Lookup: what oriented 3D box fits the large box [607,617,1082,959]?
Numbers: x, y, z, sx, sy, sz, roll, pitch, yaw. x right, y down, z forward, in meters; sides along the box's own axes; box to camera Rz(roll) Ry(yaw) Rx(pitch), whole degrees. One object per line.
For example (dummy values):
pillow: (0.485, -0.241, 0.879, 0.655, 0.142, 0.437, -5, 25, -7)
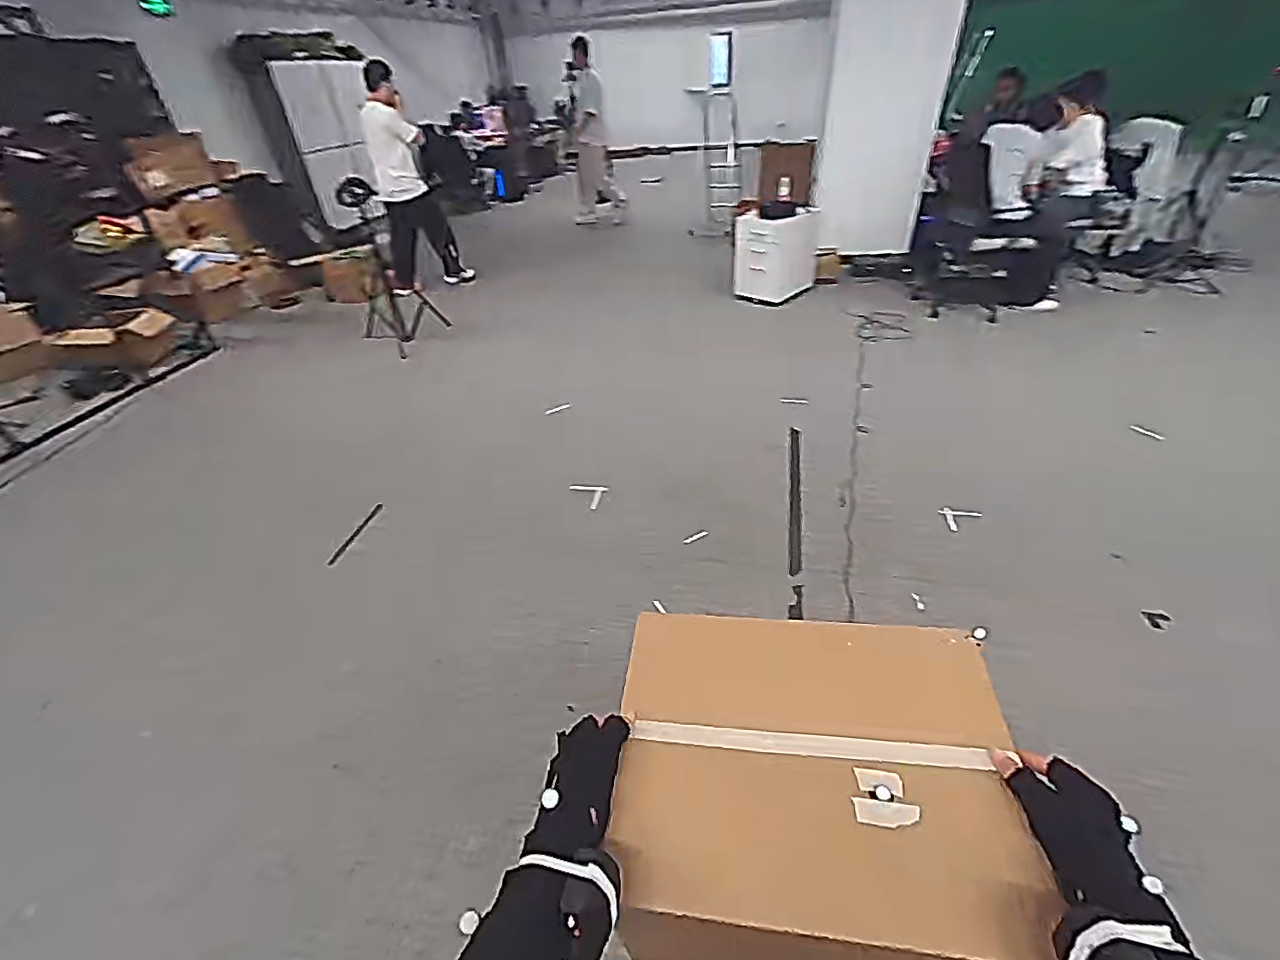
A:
large box: (0.197, 0.397, 0.671, 0.408, 0.320, 0.320, 1, 41, 11)
